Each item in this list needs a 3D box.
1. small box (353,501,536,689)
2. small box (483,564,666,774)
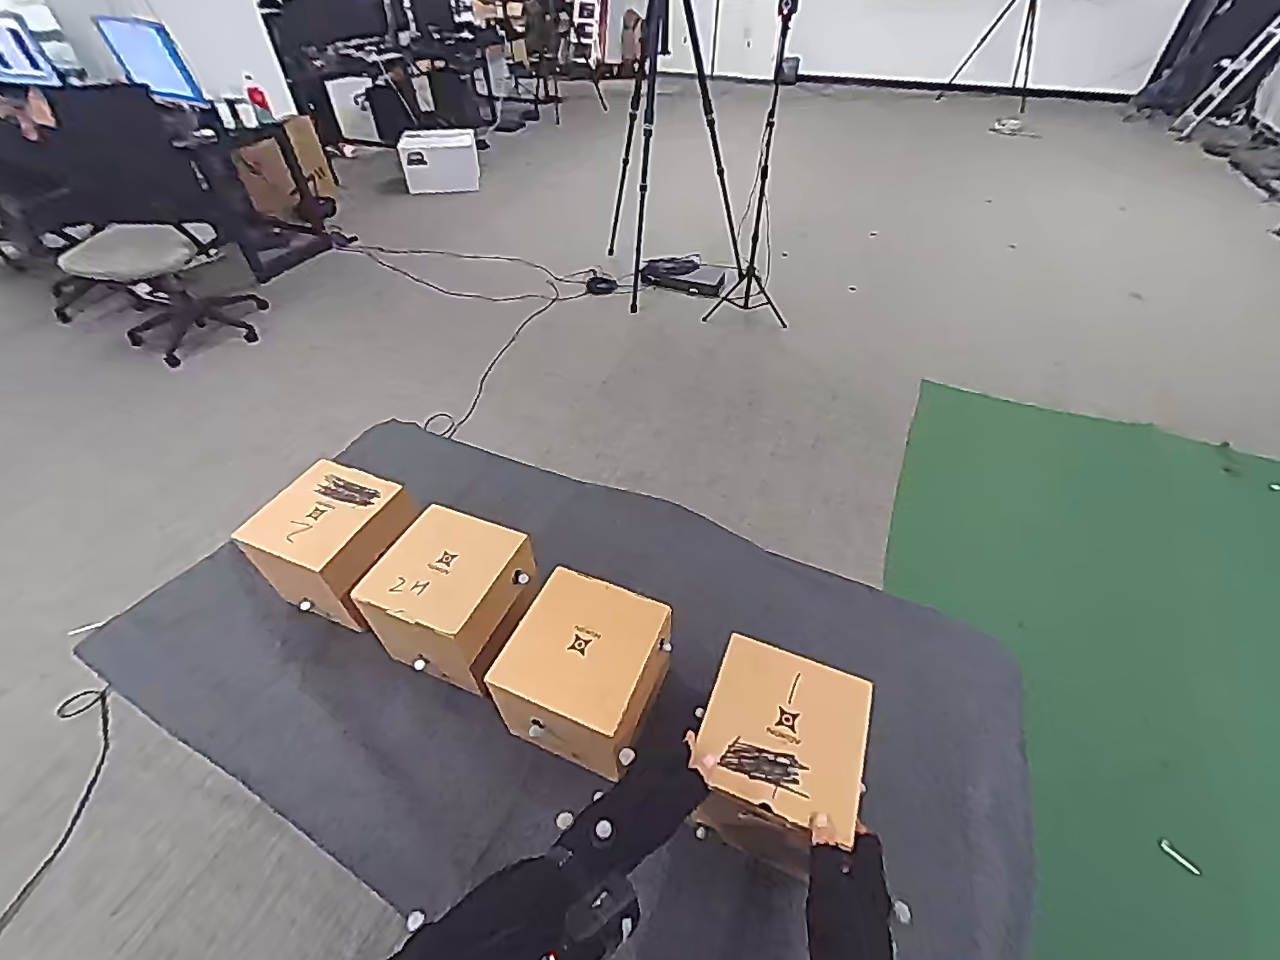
[{"bbox_3d":[-0.265,0.165,0.784,0.168,0.176,0.179,16,47,16],"label":"small box"},{"bbox_3d":[-0.072,0.248,0.705,0.168,0.176,0.179,17,47,16],"label":"small box"}]
